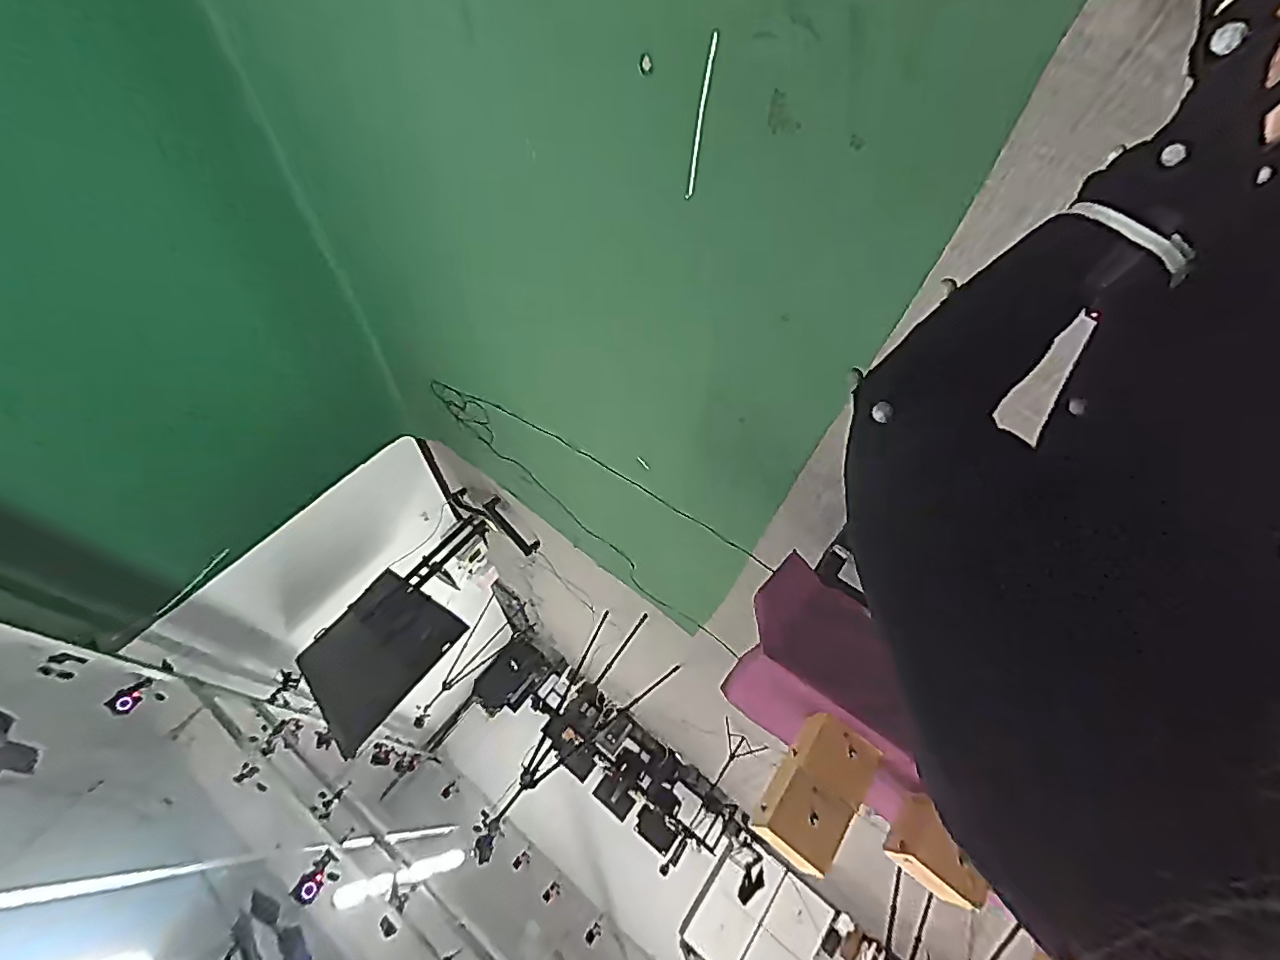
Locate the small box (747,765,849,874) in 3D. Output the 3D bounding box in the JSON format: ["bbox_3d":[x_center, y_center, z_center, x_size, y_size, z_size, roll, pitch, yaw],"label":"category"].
[{"bbox_3d":[0.403,0.852,1.372,0.168,0.176,0.179,36,153,15],"label":"small box"}]

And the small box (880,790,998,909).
[{"bbox_3d":[0.749,0.914,1.355,0.179,0.176,0.168,35,153,14],"label":"small box"}]

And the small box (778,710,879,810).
[{"bbox_3d":[0.505,0.745,1.446,0.168,0.176,0.179,36,152,13],"label":"small box"}]
